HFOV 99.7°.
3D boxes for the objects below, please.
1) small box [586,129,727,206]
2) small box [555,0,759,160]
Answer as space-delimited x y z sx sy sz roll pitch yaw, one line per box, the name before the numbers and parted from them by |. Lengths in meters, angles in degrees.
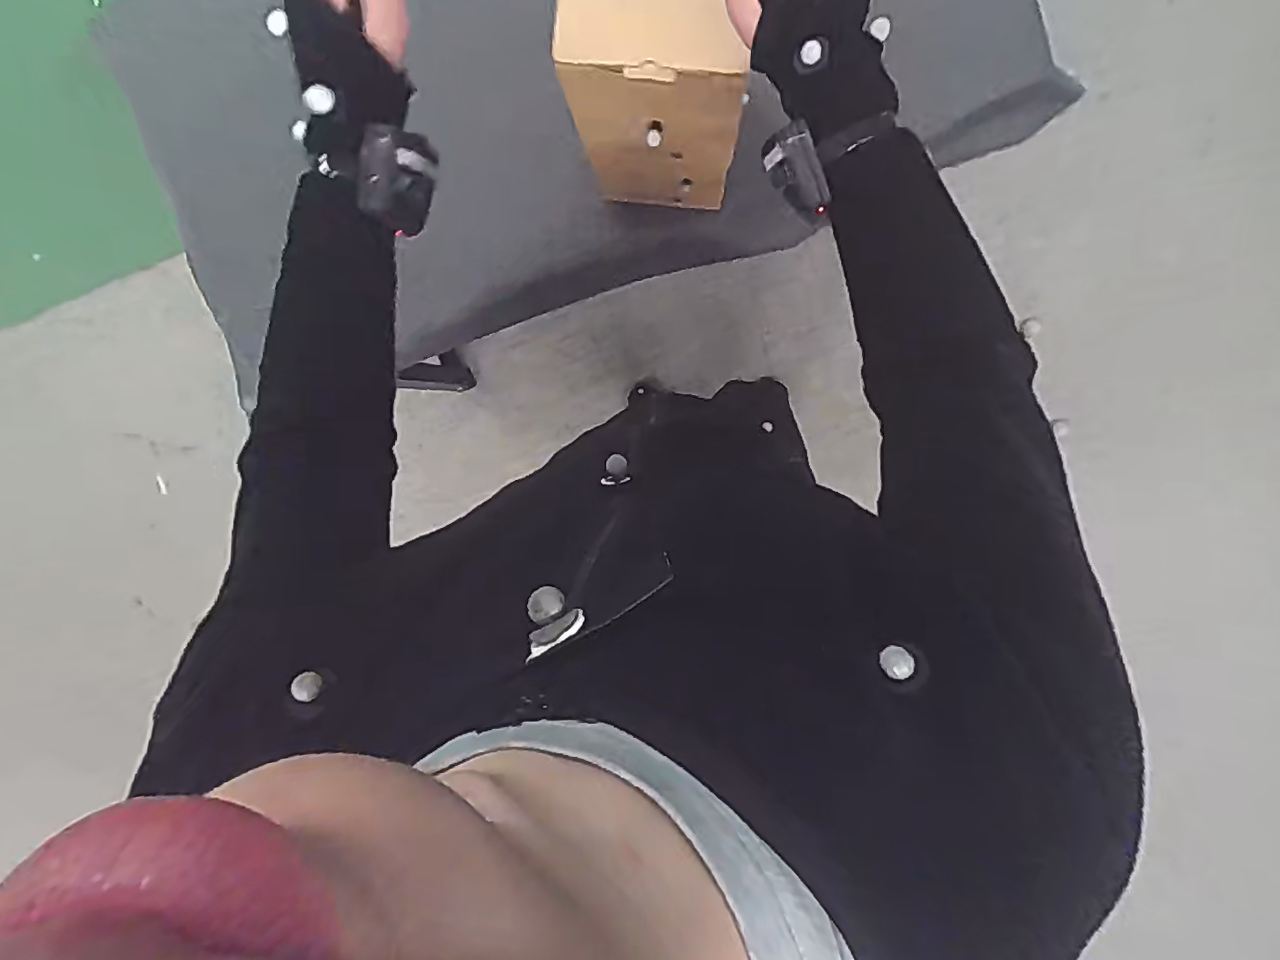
small box | 0.034 -0.465 0.673 0.168 0.176 0.179 7 97 3
small box | 0.025 -0.432 0.513 0.168 0.176 0.179 8 99 3
